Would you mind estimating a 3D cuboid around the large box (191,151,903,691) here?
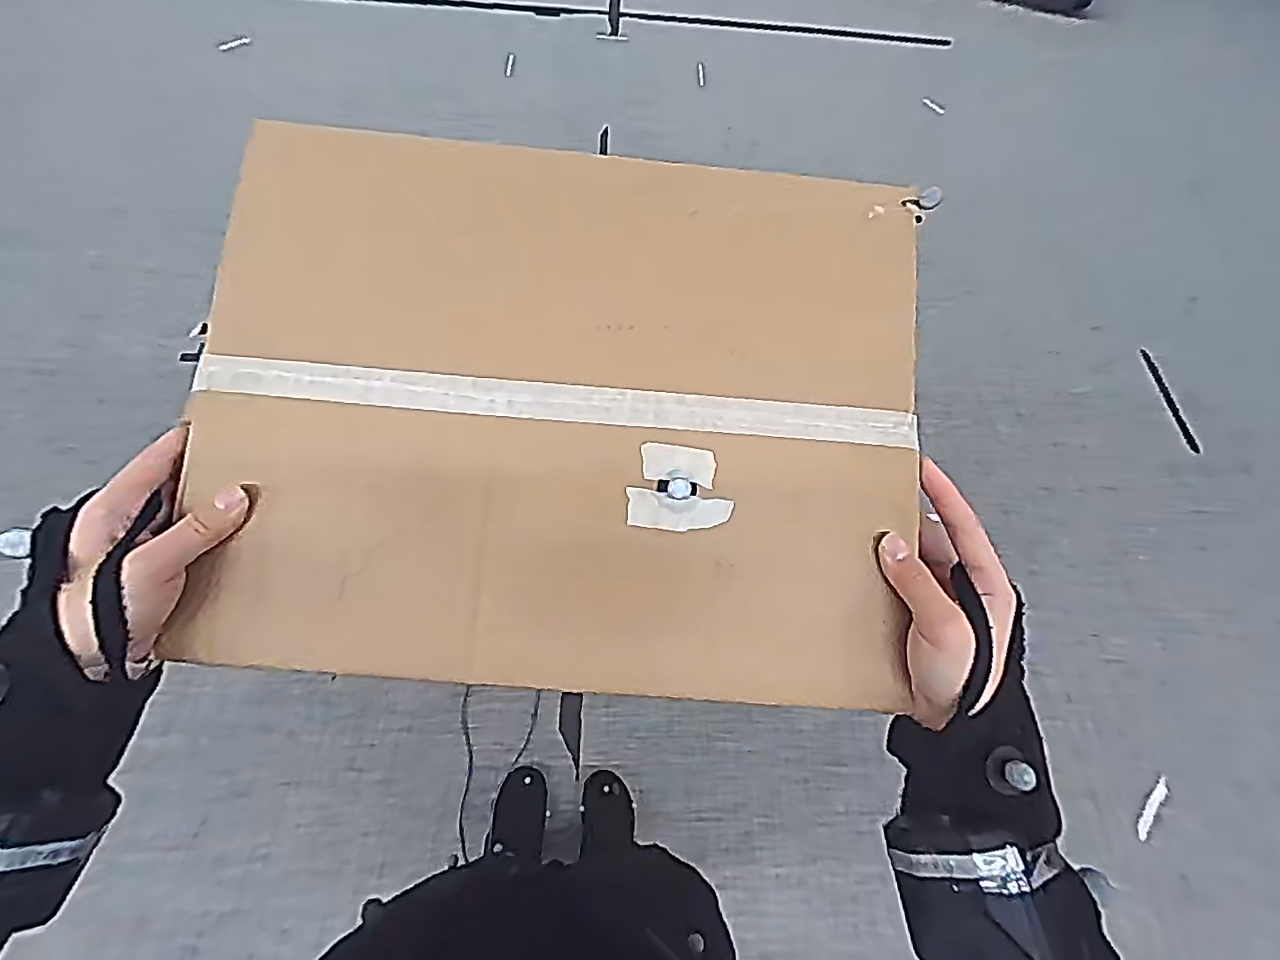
[{"bbox_3d":[-0.047,-0.022,0.470,0.408,0.320,0.320,5,82,-2],"label":"large box"}]
